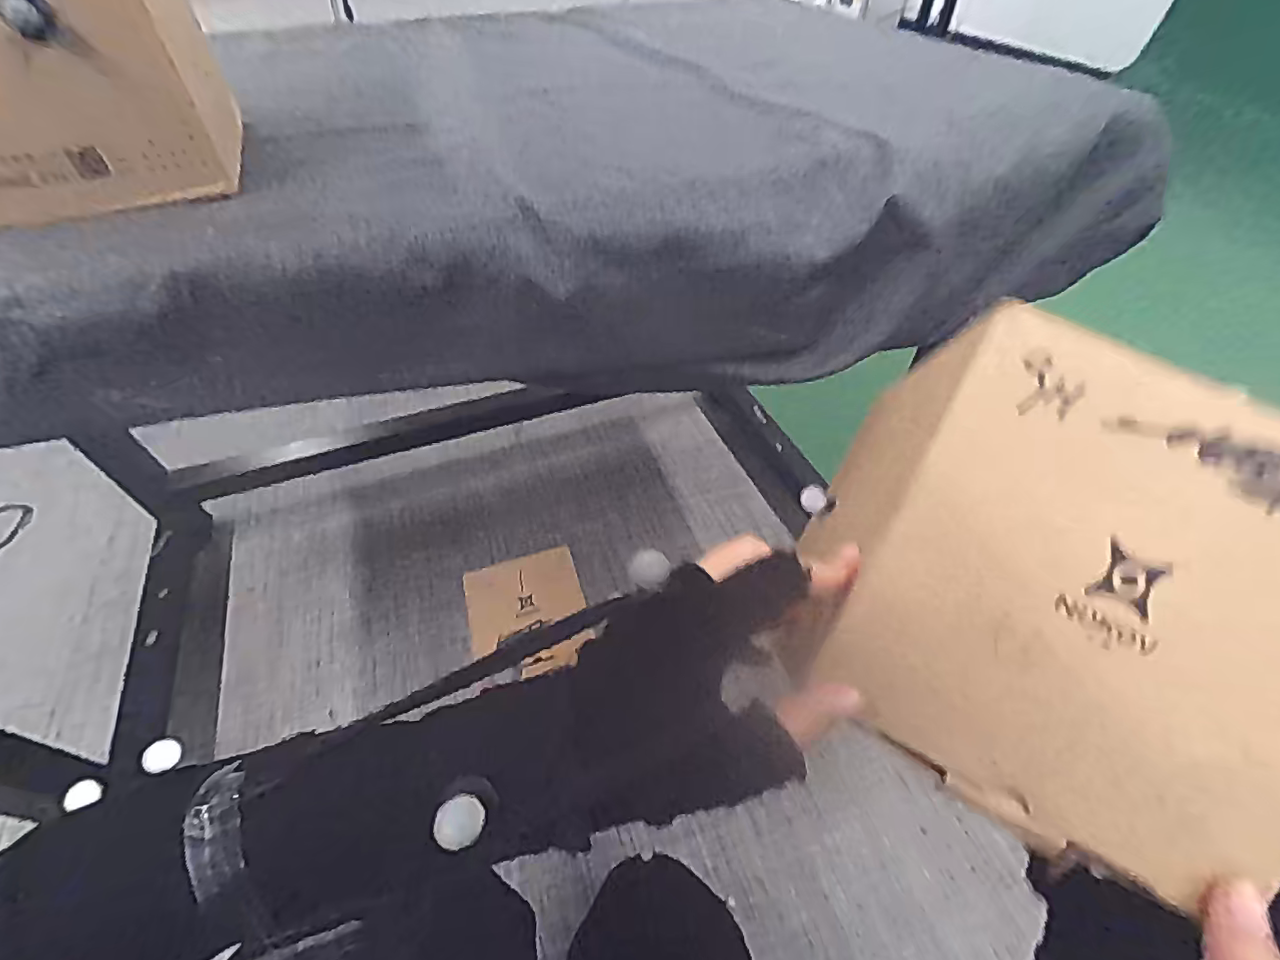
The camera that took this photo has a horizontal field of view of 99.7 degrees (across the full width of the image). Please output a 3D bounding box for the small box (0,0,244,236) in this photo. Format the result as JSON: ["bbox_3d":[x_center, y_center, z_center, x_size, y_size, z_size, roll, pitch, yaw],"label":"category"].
[{"bbox_3d":[-0.358,-0.251,0.306,0.168,0.176,0.179,-19,49,-18],"label":"small box"}]

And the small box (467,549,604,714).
[{"bbox_3d":[-0.158,0.241,0.838,0.168,0.176,0.179,-15,49,-11],"label":"small box"}]

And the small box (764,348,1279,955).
[{"bbox_3d":[0.178,0.066,0.286,0.168,0.176,0.179,29,88,8],"label":"small box"}]
